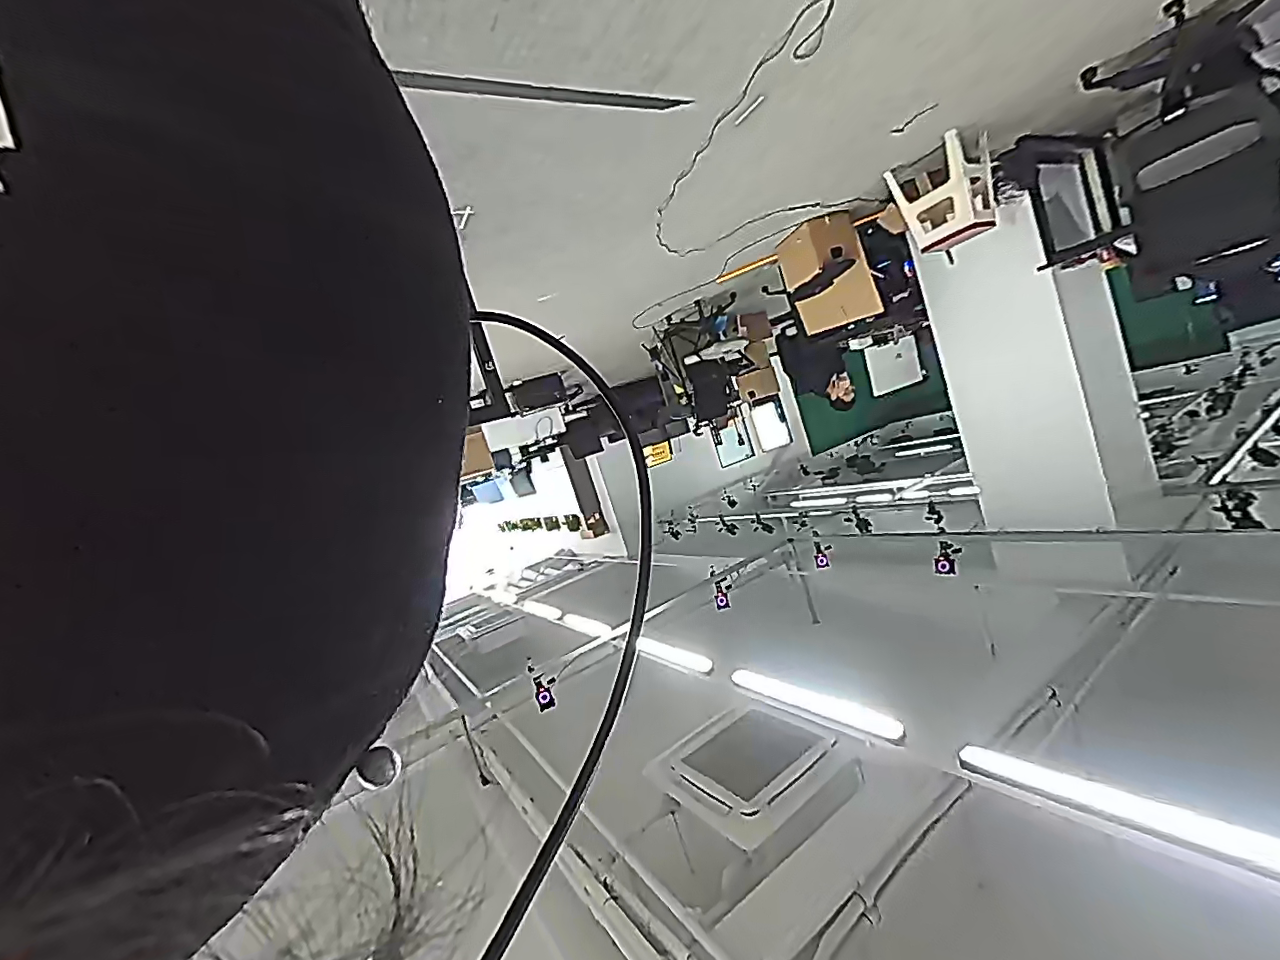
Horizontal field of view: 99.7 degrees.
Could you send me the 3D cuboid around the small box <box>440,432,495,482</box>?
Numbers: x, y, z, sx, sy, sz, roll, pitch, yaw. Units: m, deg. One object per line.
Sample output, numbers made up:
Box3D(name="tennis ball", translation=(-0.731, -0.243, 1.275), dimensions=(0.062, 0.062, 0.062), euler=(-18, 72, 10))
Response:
Box3D(name="small box", translation=(-0.739, -0.101, 2.302), dimensions=(0.168, 0.176, 0.179), euler=(-19, -175, -28))
